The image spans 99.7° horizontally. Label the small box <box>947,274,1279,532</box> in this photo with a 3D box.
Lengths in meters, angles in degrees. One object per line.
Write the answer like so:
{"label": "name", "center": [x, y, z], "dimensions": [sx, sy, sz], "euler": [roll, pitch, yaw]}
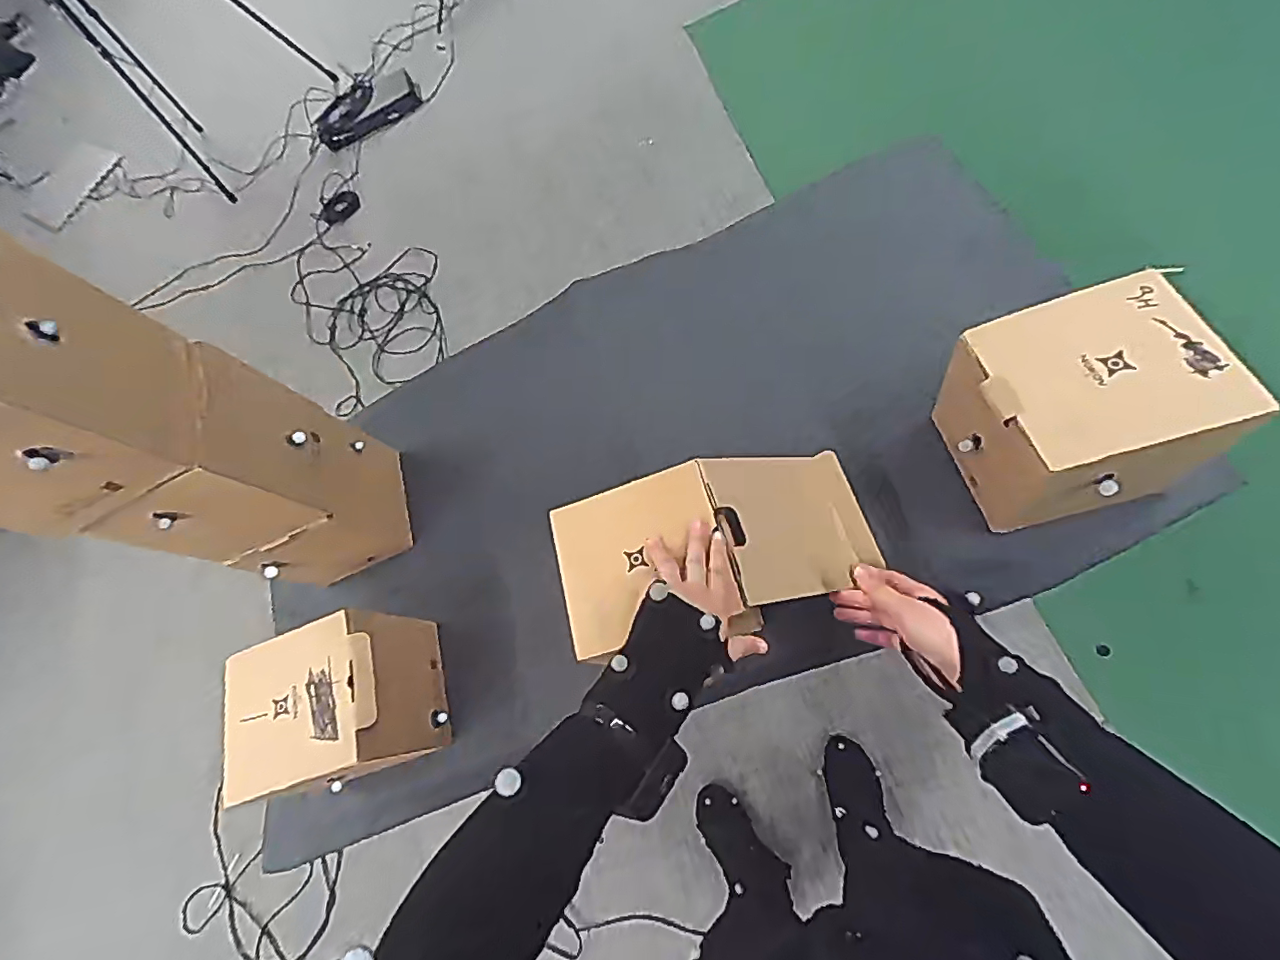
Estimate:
{"label": "small box", "center": [0.434, -0.062, 0.544], "dimensions": [0.179, 0.176, 0.168], "euler": [-18, 63, 11]}

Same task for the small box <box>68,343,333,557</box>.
{"label": "small box", "center": [-0.502, -0.022, 0.640], "dimensions": [0.179, 0.176, 0.168], "euler": [-22, 67, 8]}

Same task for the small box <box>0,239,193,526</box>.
{"label": "small box", "center": [-0.553, -0.072, 0.495], "dimensions": [0.168, 0.176, 0.179], "euler": [-26, 65, 5]}

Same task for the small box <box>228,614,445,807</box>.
{"label": "small box", "center": [-0.364, 0.276, 0.672], "dimensions": [0.179, 0.176, 0.168], "euler": [-22, 66, 9]}
